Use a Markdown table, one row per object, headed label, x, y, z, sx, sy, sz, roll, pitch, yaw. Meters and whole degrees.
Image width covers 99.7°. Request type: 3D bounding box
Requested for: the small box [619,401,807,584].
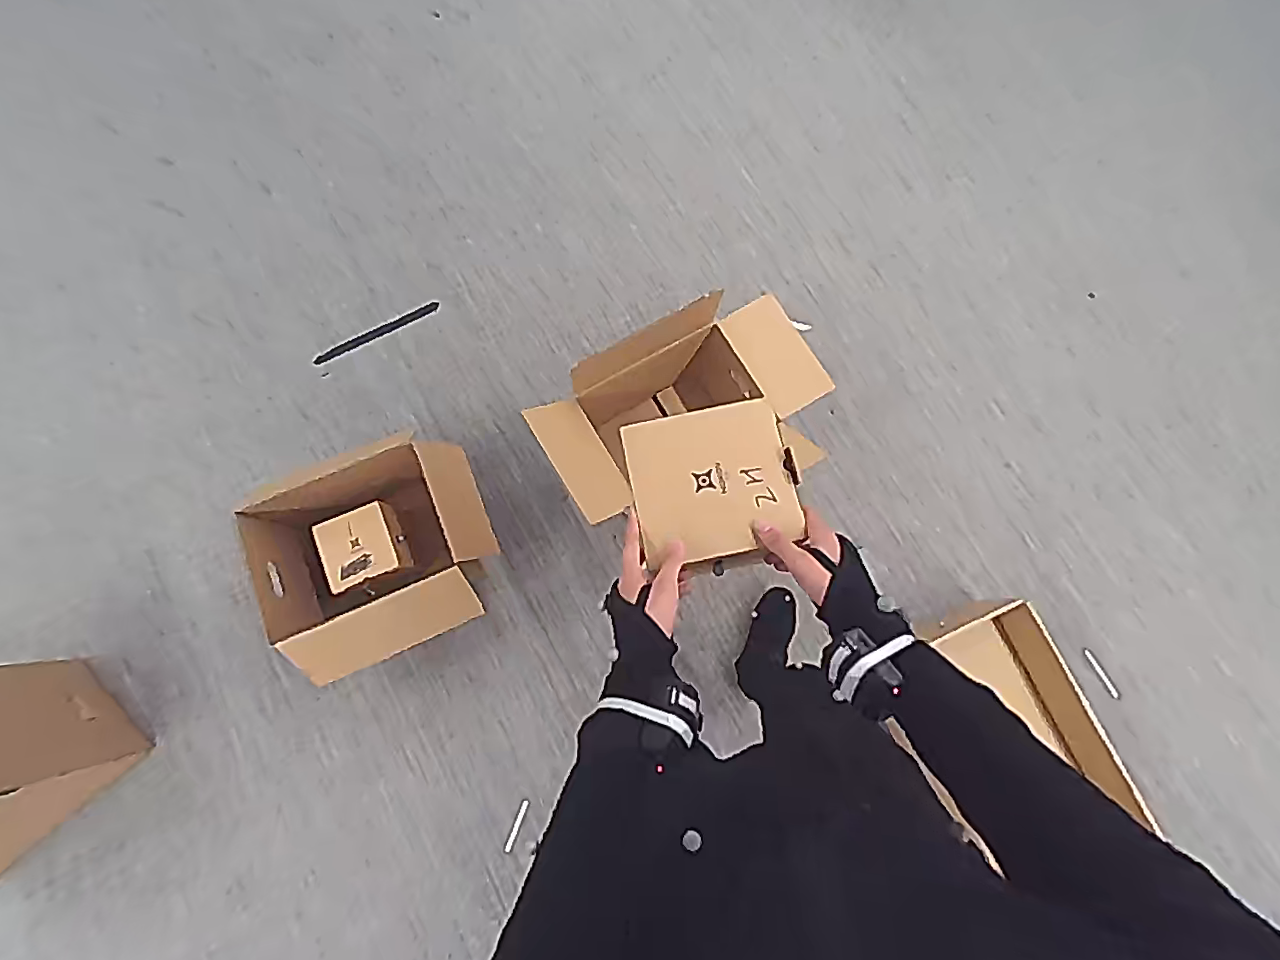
| label | x | y | z | sx | sy | sz | roll | pitch | yaw |
| --- | --- | --- | --- | --- | --- | --- | --- | --- | --- |
| small box | 0.080 | 0.026 | 0.659 | 0.179 | 0.176 | 0.168 | -11 | 74 | 0 |
